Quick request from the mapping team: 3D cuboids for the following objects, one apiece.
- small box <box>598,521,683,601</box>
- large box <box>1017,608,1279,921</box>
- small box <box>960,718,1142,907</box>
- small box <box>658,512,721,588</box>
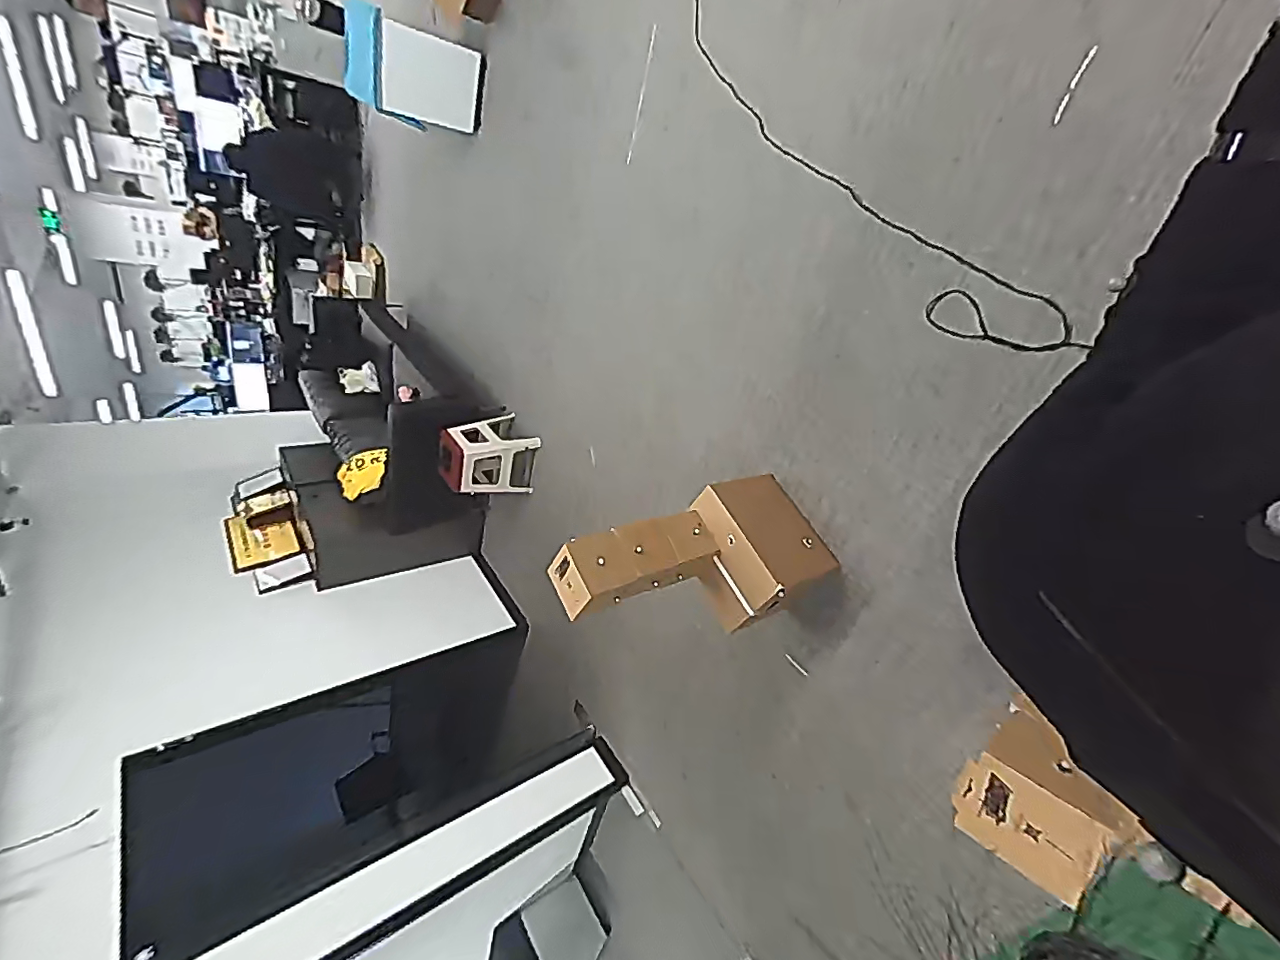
[{"bbox_3d":[0.002,0.243,1.671,0.179,0.176,0.168,59,139,24],"label":"small box"},{"bbox_3d":[1.037,0.513,1.082,0.408,0.320,0.320,26,118,45],"label":"large box"},{"bbox_3d":[0.668,0.522,0.883,0.179,0.176,0.168,26,117,44],"label":"small box"},{"bbox_3d":[0.134,0.226,1.765,0.168,0.176,0.179,59,139,25],"label":"small box"}]
